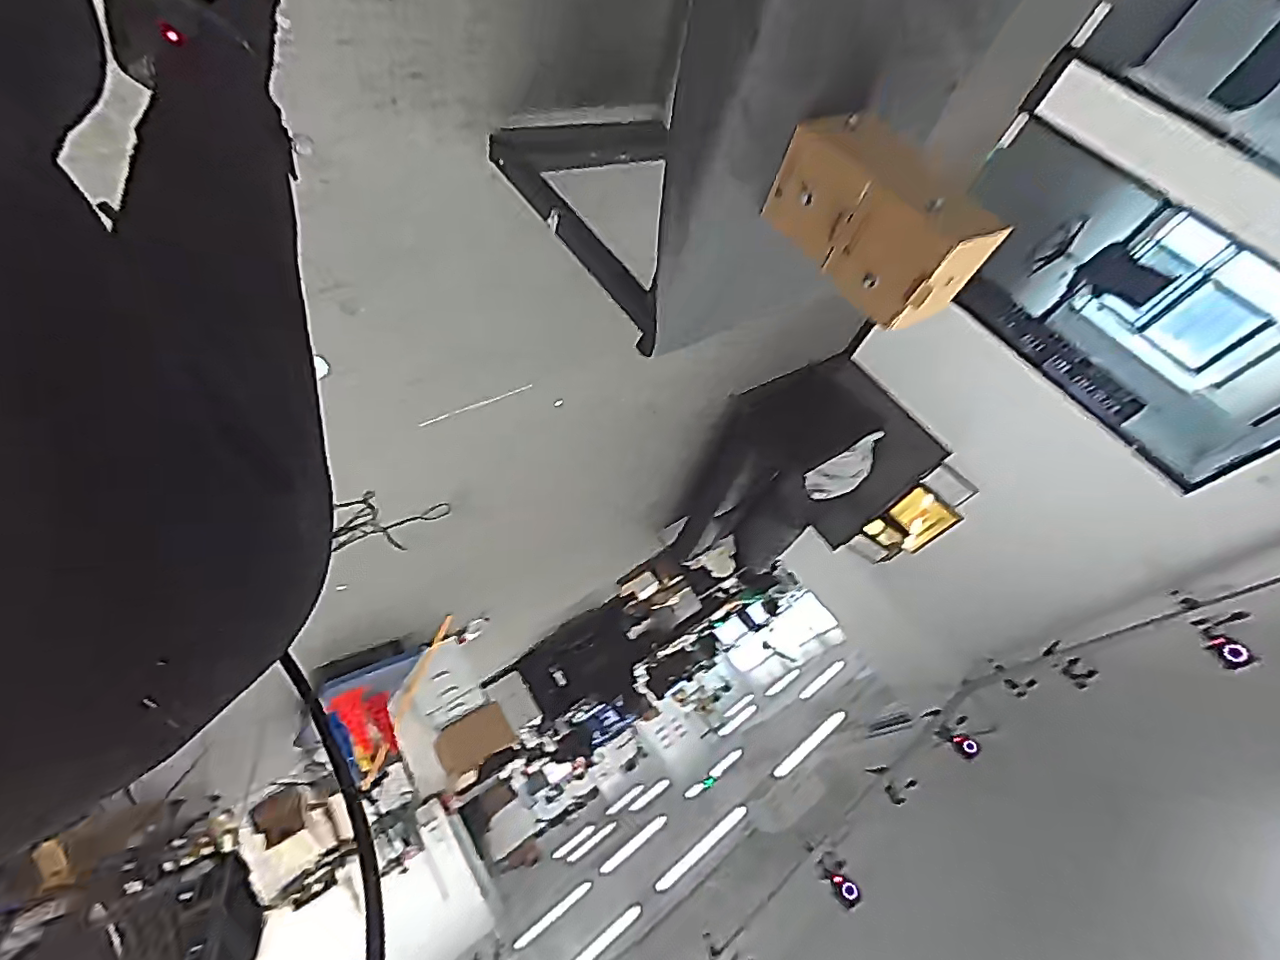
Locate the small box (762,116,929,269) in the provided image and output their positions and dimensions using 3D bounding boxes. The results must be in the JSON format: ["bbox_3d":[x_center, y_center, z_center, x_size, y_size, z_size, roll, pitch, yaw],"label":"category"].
[{"bbox_3d":[0.346,-0.502,0.941,0.179,0.176,0.168,-26,157,-27],"label":"small box"}]

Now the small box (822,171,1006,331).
[{"bbox_3d":[0.438,-0.378,0.889,0.179,0.176,0.168,-26,158,-30],"label":"small box"}]
